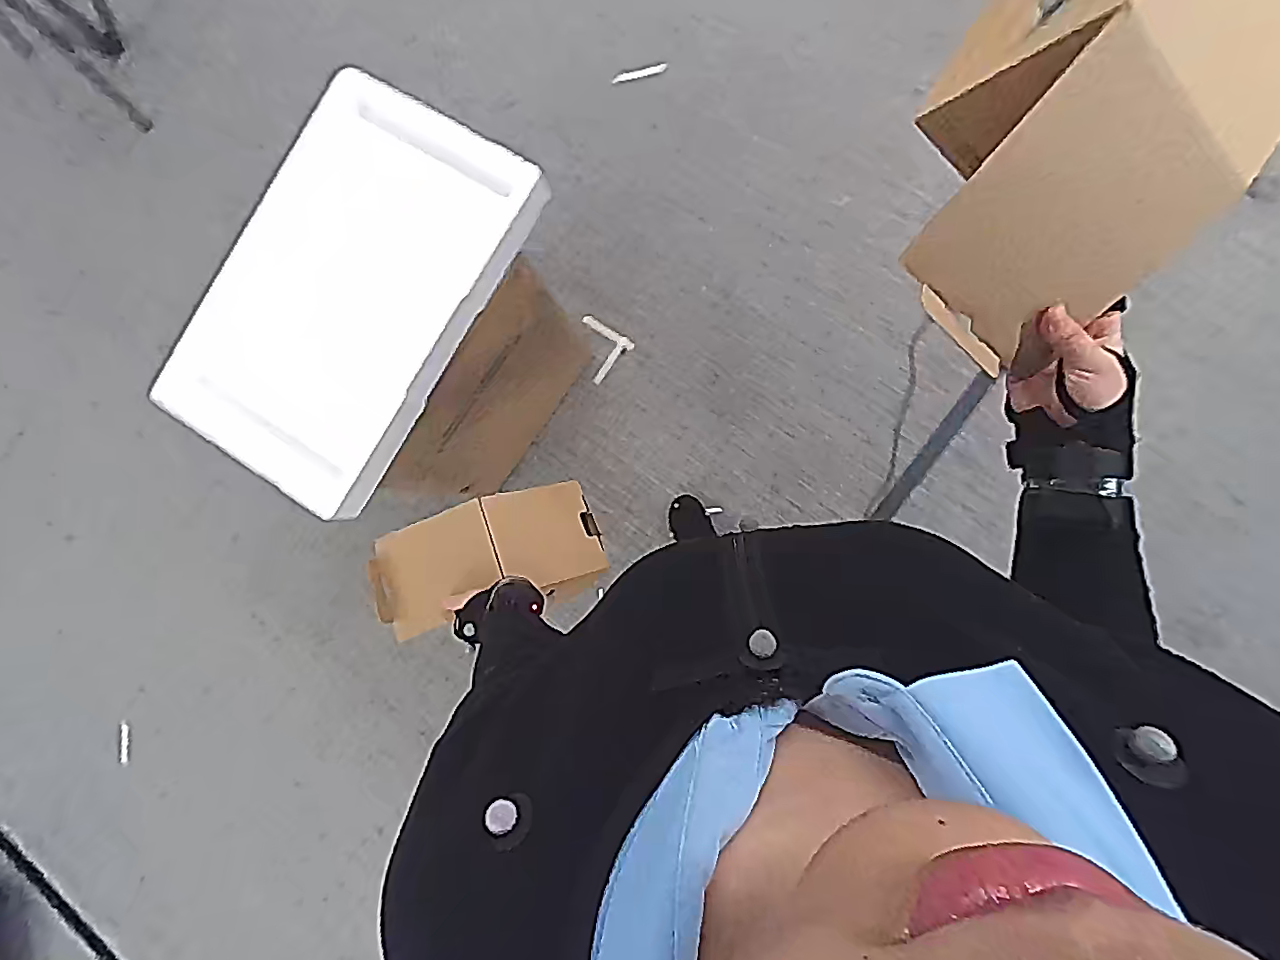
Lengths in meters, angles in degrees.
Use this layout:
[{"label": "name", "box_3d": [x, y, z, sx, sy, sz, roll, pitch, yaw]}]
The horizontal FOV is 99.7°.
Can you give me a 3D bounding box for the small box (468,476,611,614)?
[{"label": "small box", "box_3d": [-0.178, 0.111, 0.903, 0.179, 0.176, 0.168, -10, 70, -33]}]
